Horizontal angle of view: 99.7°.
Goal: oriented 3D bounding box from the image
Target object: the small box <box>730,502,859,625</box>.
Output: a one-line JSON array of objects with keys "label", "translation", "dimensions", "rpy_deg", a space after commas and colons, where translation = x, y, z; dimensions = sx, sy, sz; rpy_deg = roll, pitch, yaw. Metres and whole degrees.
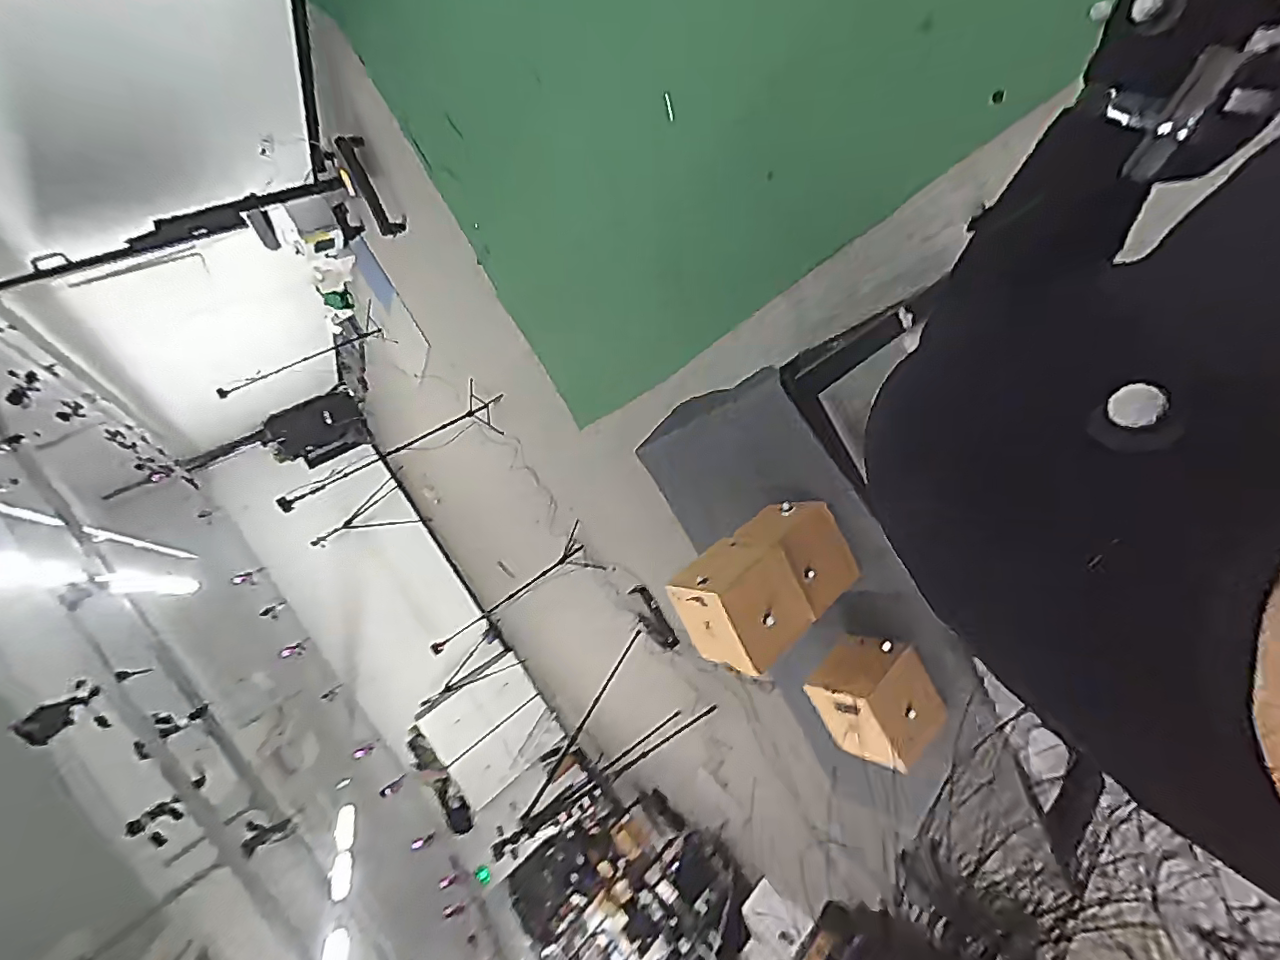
[{"label": "small box", "translation": [0.305, 0.163, 1.086], "dimensions": [0.168, 0.176, 0.179], "rpy_deg": [-14, 106, 60]}]

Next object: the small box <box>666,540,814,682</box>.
[{"label": "small box", "translation": [0.187, 0.231, 0.993], "dimensions": [0.168, 0.176, 0.179], "rpy_deg": [-9, 112, 59]}]

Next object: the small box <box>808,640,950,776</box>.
[{"label": "small box", "translation": [0.486, 0.450, 1.101], "dimensions": [0.179, 0.176, 0.168], "rpy_deg": [58, 153, -7]}]
